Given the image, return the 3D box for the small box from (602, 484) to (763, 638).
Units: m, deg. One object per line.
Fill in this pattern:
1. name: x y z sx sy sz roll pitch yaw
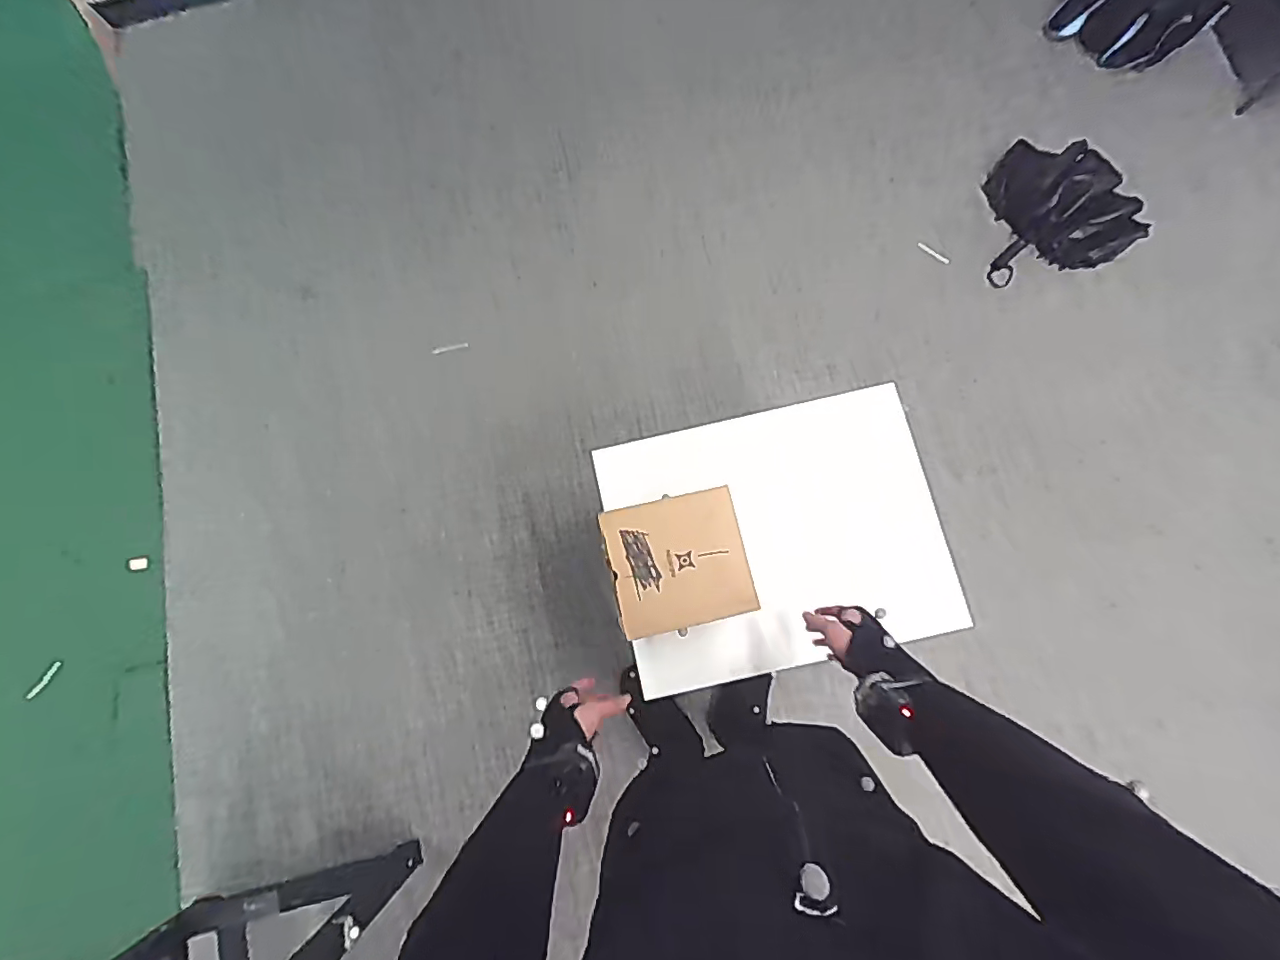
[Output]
1. small box: 0.052 0.115 0.752 0.179 0.176 0.168 -12 80 -3
